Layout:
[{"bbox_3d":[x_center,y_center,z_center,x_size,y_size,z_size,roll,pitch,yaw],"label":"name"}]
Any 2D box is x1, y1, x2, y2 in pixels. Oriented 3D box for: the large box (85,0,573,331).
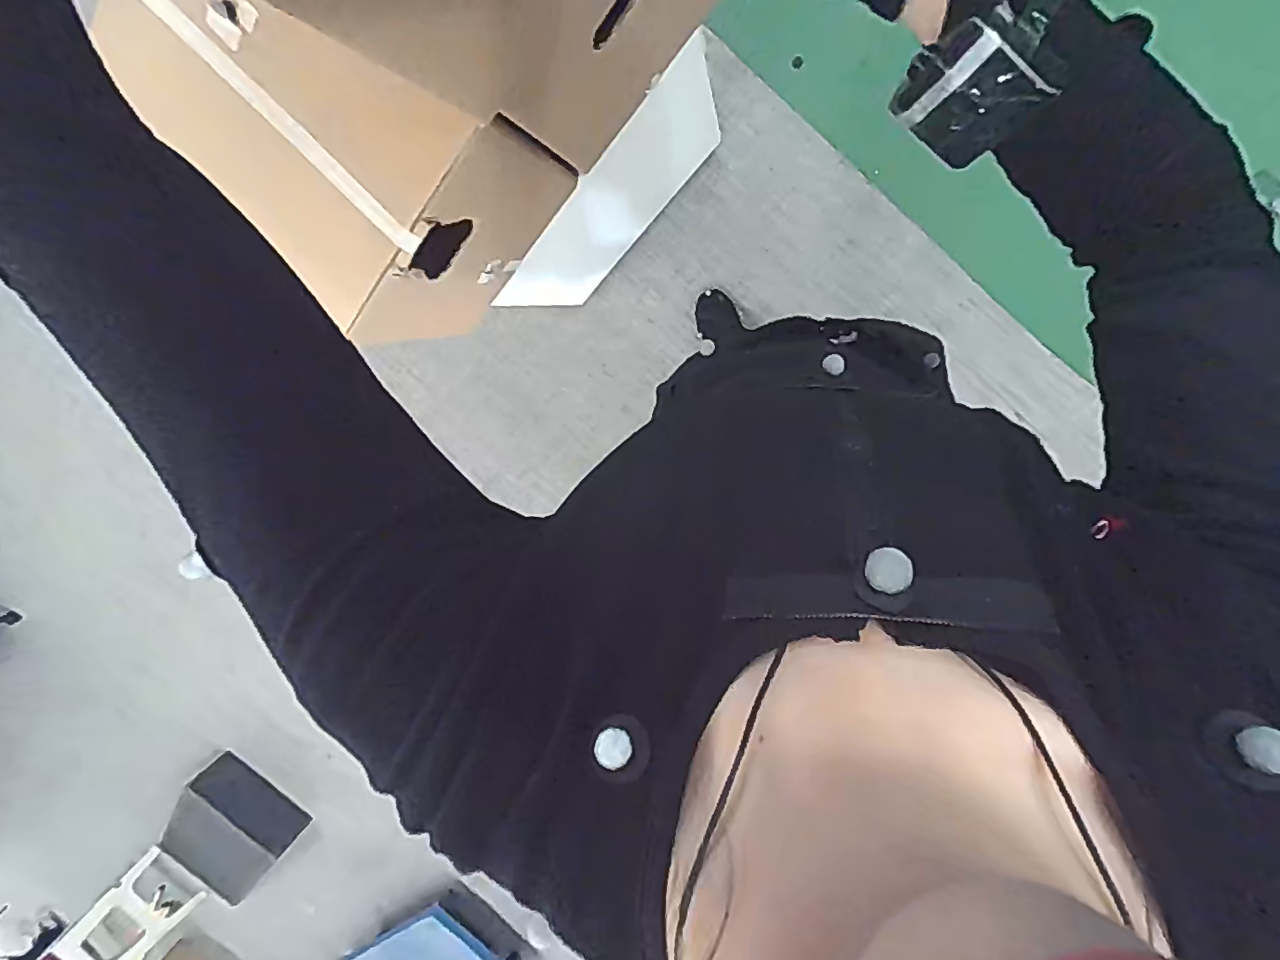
[{"bbox_3d":[-0.366,-0.451,0.716,0.408,0.320,0.320,45,111,-3],"label":"large box"}]
